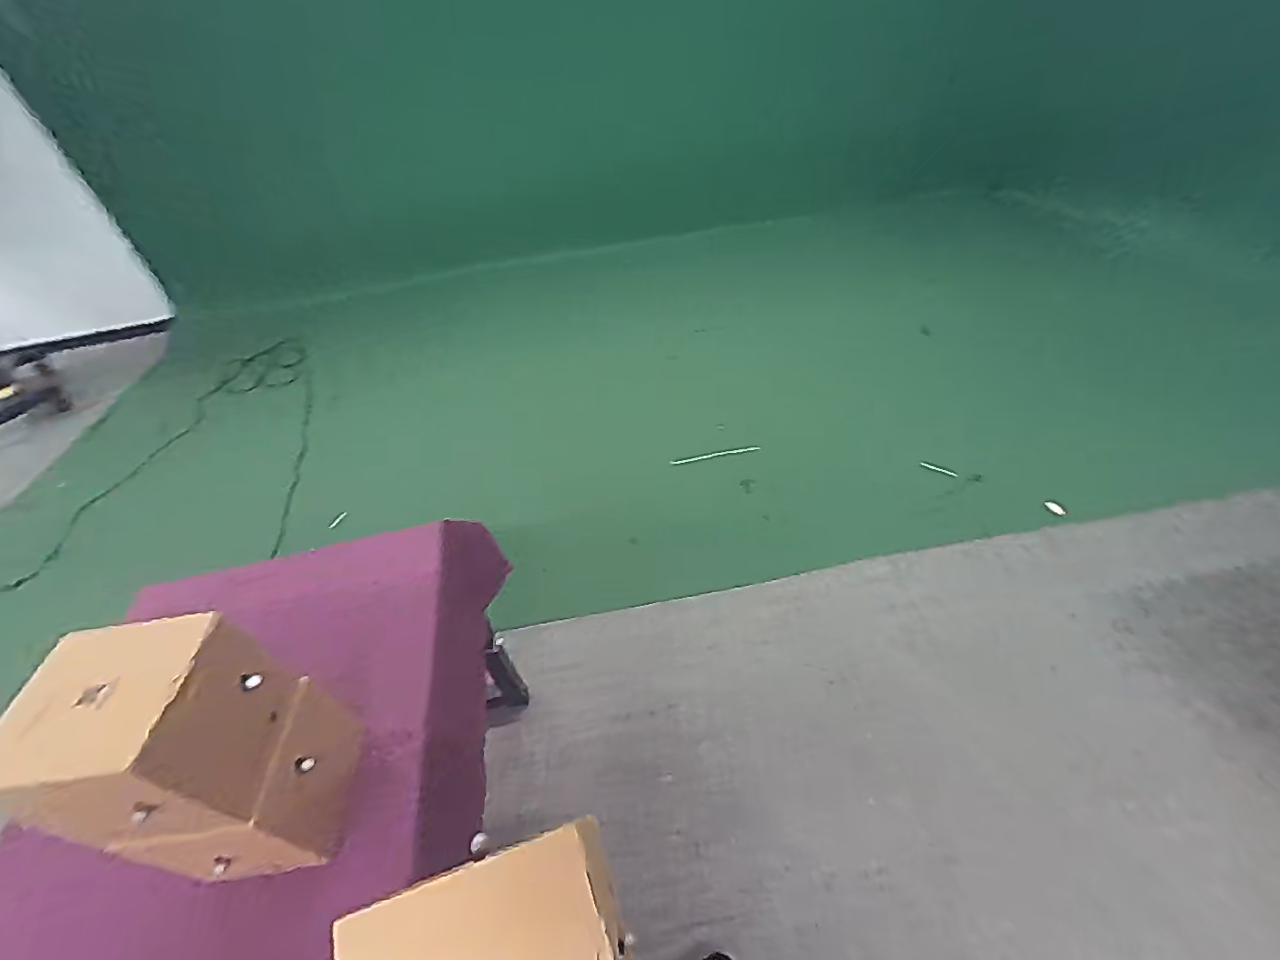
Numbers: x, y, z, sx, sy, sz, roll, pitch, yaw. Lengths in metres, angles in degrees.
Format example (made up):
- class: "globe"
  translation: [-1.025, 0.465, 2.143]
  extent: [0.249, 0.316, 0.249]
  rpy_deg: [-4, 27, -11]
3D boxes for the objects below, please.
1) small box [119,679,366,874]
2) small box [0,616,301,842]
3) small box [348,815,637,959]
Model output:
- class: "small box"
  translation: [-0.490, 0.391, 0.705]
  extent: [0.168, 0.176, 0.179]
  rpy_deg: [-9, 43, 1]
- class: "small box"
  translation: [-0.521, 0.275, 0.595]
  extent: [0.179, 0.176, 0.168]
  rpy_deg: [-10, 42, 2]
- class: "small box"
  translation: [-0.098, 0.383, 0.421]
  extent: [0.179, 0.176, 0.168]
  rpy_deg: [-16, 60, -9]
